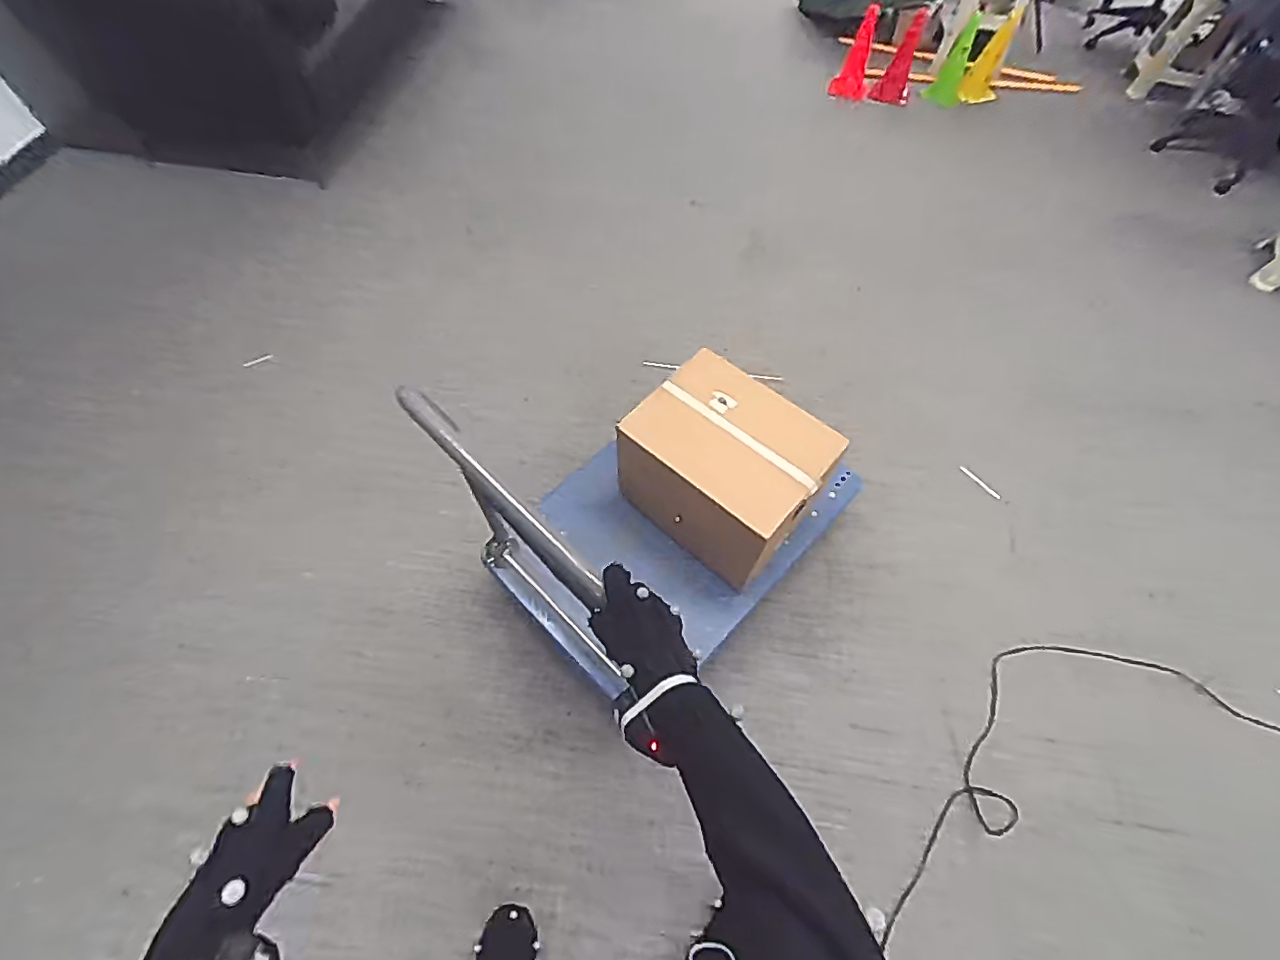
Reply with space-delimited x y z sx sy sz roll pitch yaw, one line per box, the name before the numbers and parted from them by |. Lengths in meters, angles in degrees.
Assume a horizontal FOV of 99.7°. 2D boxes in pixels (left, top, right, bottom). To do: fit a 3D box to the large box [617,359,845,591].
large box | 0.197 -0.008 1.296 0.408 0.320 0.320 37 65 20
